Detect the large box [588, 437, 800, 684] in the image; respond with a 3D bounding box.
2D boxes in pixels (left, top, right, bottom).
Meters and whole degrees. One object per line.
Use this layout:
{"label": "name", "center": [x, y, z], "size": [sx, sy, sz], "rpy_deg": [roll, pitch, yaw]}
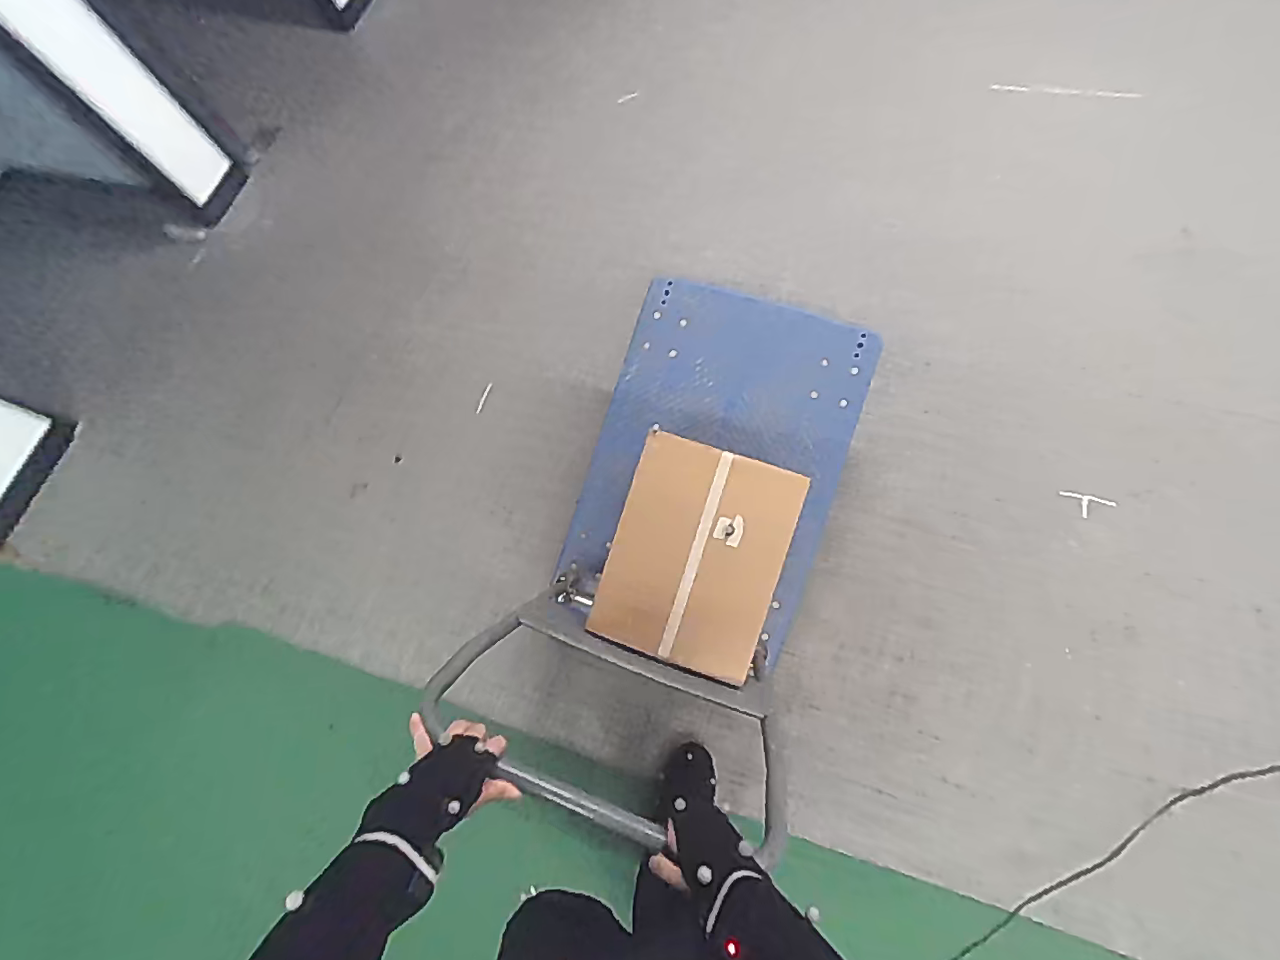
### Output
{"label": "large box", "center": [0.123, 0.159, 1.173], "size": [0.320, 0.320, 0.408], "rpy_deg": [18, 89, 9]}
